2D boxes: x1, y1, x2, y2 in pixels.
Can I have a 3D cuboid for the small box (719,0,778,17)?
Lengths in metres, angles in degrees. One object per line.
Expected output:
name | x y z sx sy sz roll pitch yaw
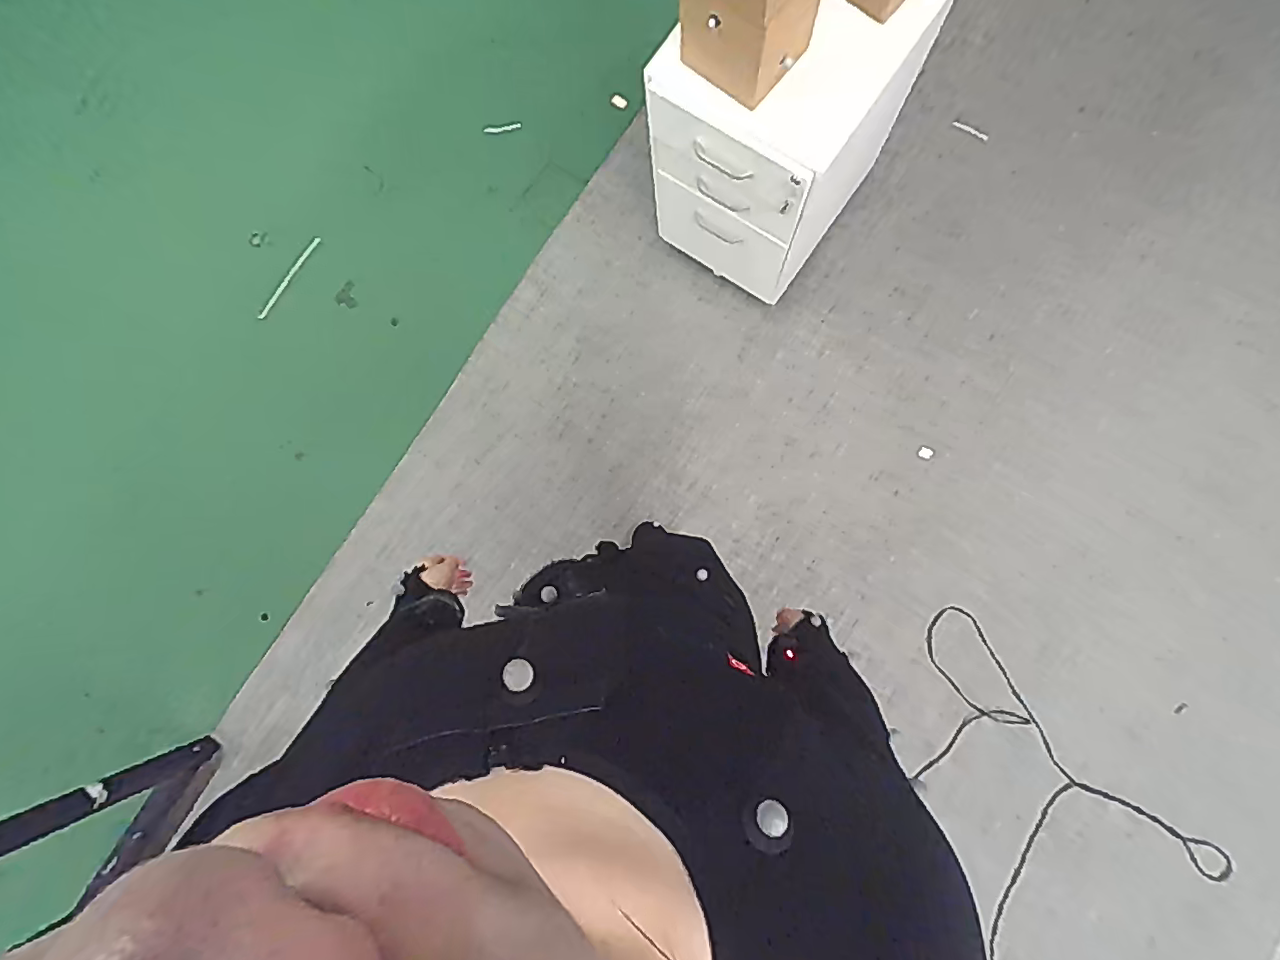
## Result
small box | 0.164 -0.815 0.762 0.179 0.176 0.168 40 86 8

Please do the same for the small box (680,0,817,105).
small box | 0.181 -0.797 0.922 0.179 0.176 0.168 41 88 7

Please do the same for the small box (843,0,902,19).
small box | 0.417 -0.954 0.921 0.179 0.176 0.168 42 88 8
